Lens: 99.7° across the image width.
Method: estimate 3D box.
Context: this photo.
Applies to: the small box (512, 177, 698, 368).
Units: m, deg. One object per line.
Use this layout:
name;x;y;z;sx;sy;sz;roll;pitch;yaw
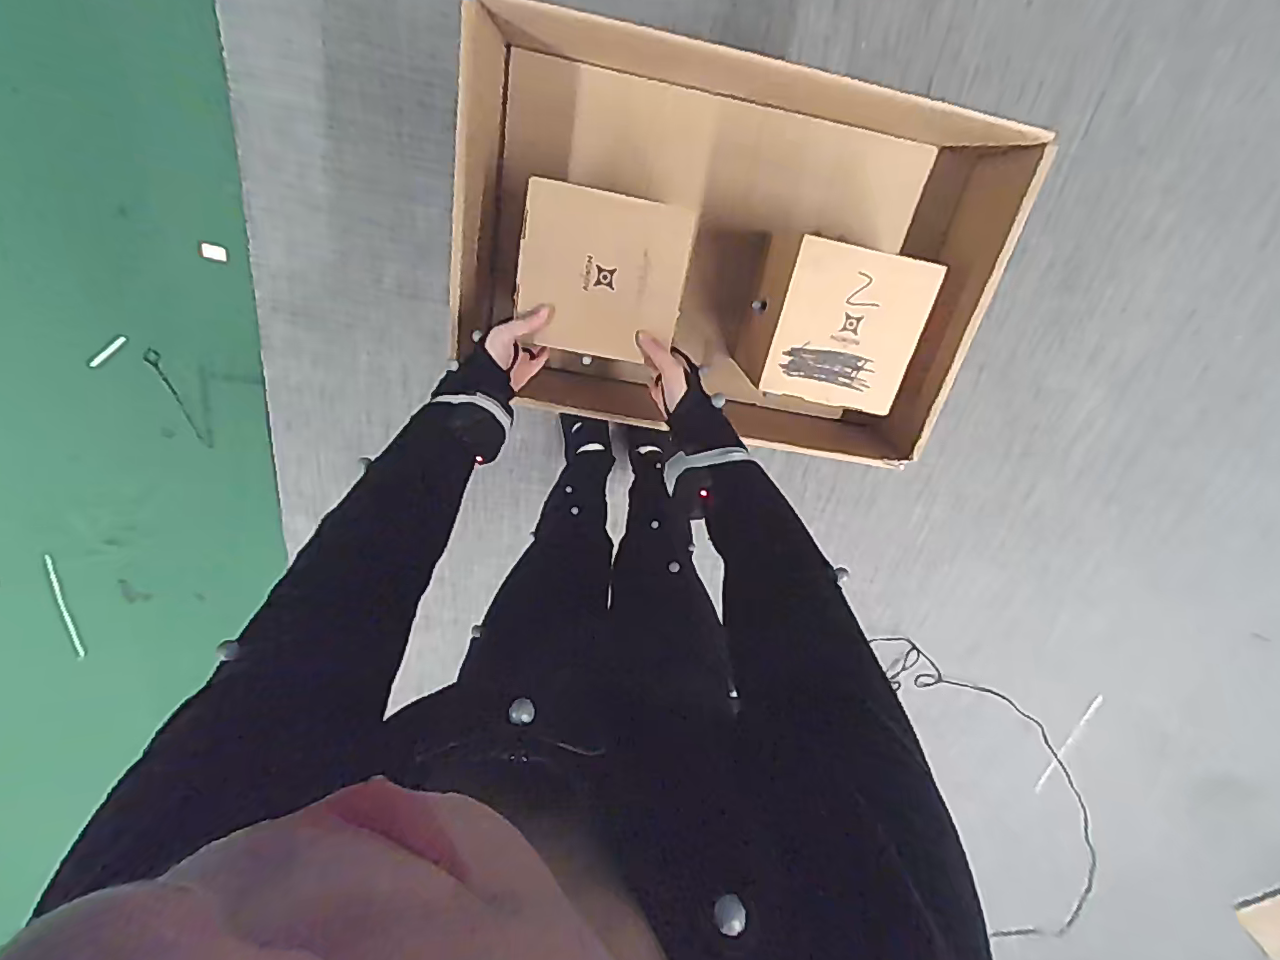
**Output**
small box;-0.042;-0.238;0.647;0.179;0.176;0.168;9;108;-5
